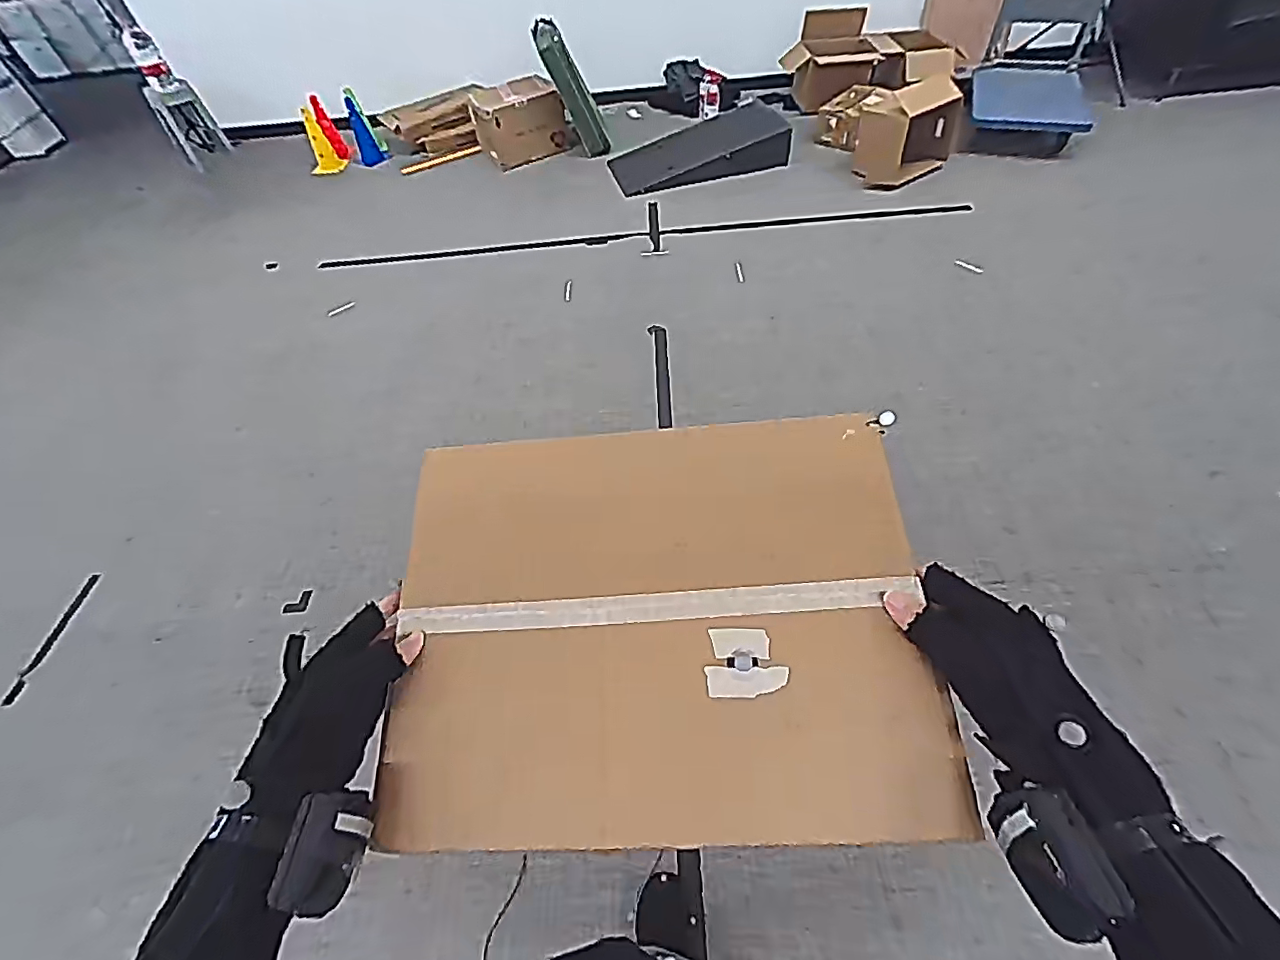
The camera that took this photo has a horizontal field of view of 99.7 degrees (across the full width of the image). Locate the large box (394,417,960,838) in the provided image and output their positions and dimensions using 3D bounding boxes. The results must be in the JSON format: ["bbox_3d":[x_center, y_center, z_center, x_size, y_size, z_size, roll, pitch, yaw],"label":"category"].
[{"bbox_3d":[0.025,0.160,0.569,0.408,0.320,0.320,-4,66,4],"label":"large box"}]
